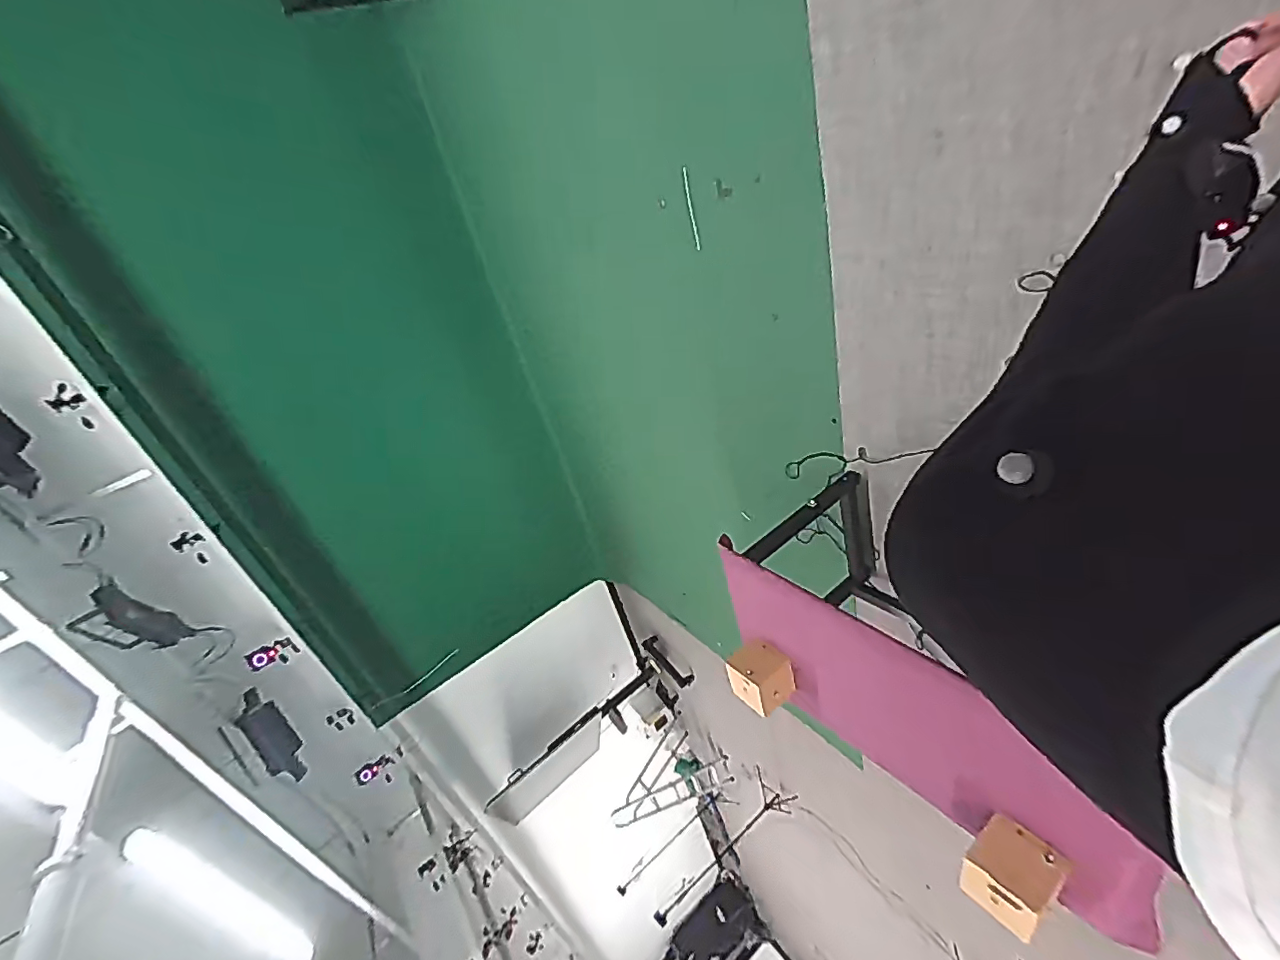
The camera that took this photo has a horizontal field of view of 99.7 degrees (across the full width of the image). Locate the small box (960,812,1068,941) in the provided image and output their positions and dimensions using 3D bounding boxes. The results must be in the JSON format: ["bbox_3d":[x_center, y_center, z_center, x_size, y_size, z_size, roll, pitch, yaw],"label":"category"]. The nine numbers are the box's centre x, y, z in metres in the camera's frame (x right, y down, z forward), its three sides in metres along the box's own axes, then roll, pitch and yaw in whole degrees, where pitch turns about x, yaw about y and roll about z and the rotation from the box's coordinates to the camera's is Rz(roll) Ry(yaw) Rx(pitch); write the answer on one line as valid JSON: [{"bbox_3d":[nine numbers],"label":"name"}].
[{"bbox_3d":[0.940,0.988,1.362,0.168,0.176,0.179,29,142,49],"label":"small box"}]

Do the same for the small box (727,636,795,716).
[{"bbox_3d":[0.450,0.715,1.987,0.168,0.176,0.179,24,139,50],"label":"small box"}]
